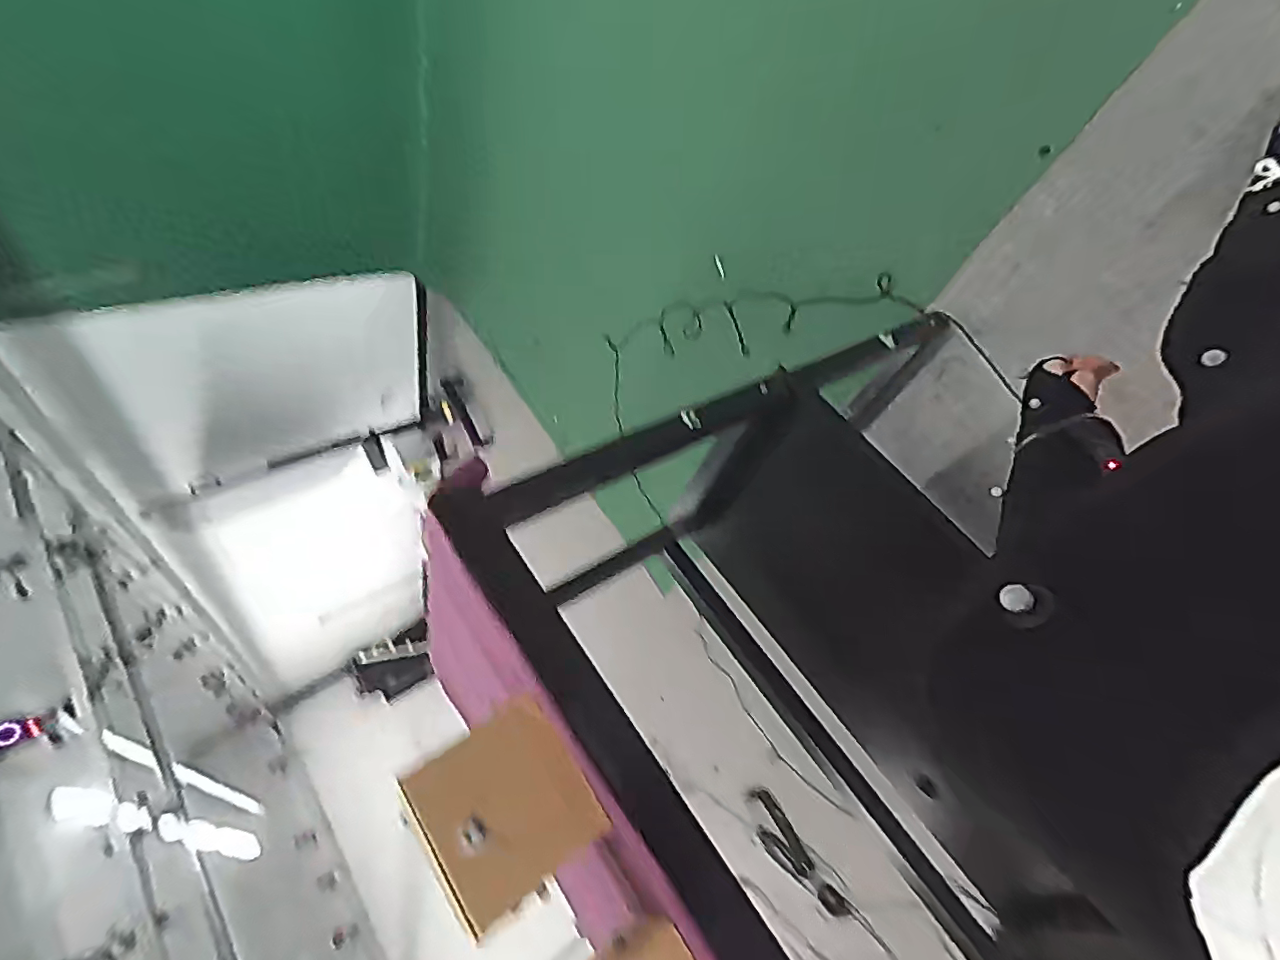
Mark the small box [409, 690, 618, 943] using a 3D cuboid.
[{"bbox_3d":[-0.152,0.385,0.638,0.179,0.176,0.168,52,143,18],"label":"small box"}]
